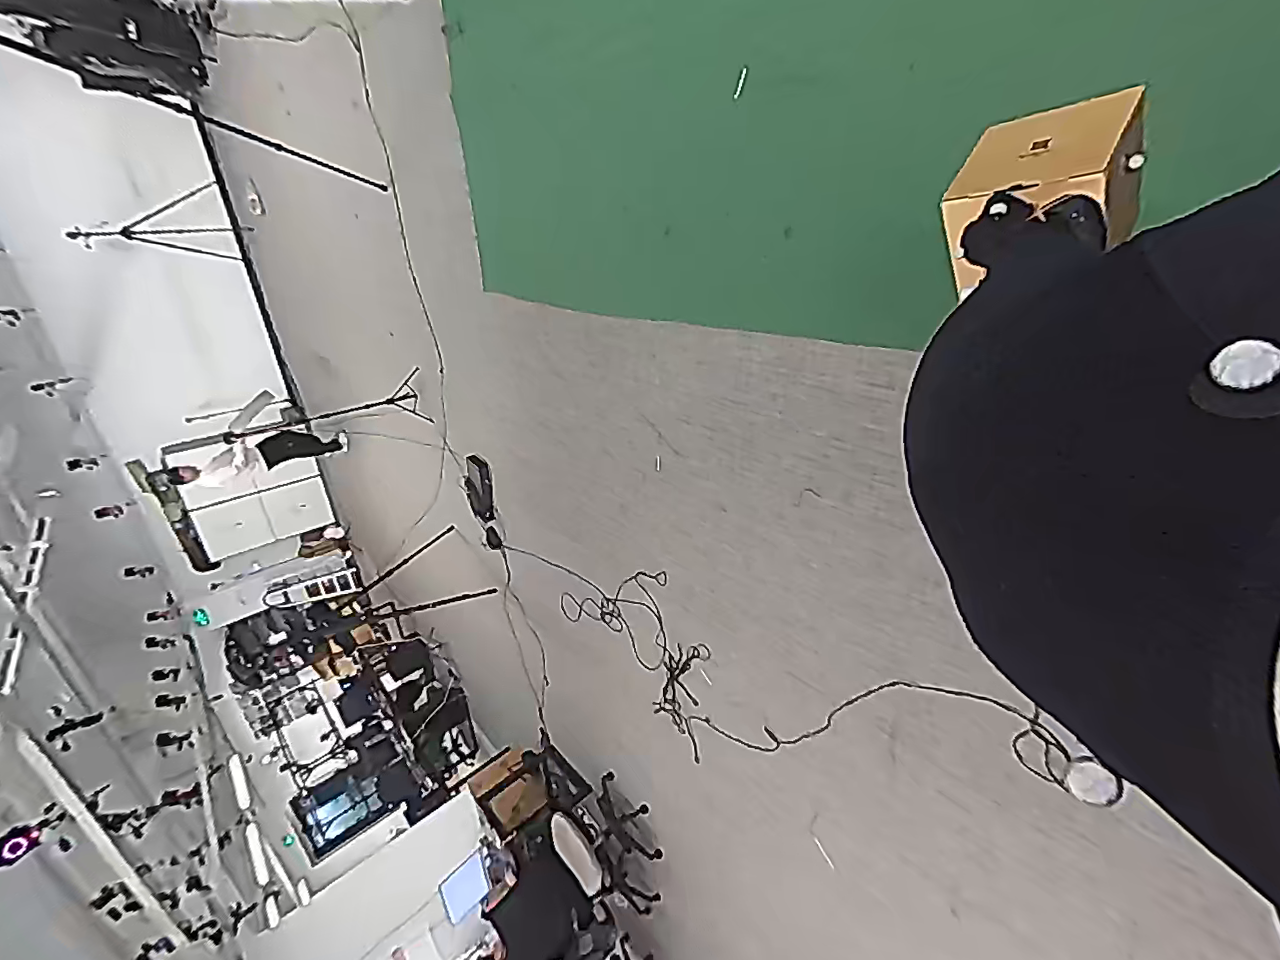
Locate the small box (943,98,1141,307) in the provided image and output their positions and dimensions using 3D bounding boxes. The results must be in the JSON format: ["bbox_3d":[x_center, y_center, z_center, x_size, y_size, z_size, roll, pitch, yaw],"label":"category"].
[{"bbox_3d":[0.534,-0.356,0.723,0.168,0.179,0.176,15,152,47],"label":"small box"}]
